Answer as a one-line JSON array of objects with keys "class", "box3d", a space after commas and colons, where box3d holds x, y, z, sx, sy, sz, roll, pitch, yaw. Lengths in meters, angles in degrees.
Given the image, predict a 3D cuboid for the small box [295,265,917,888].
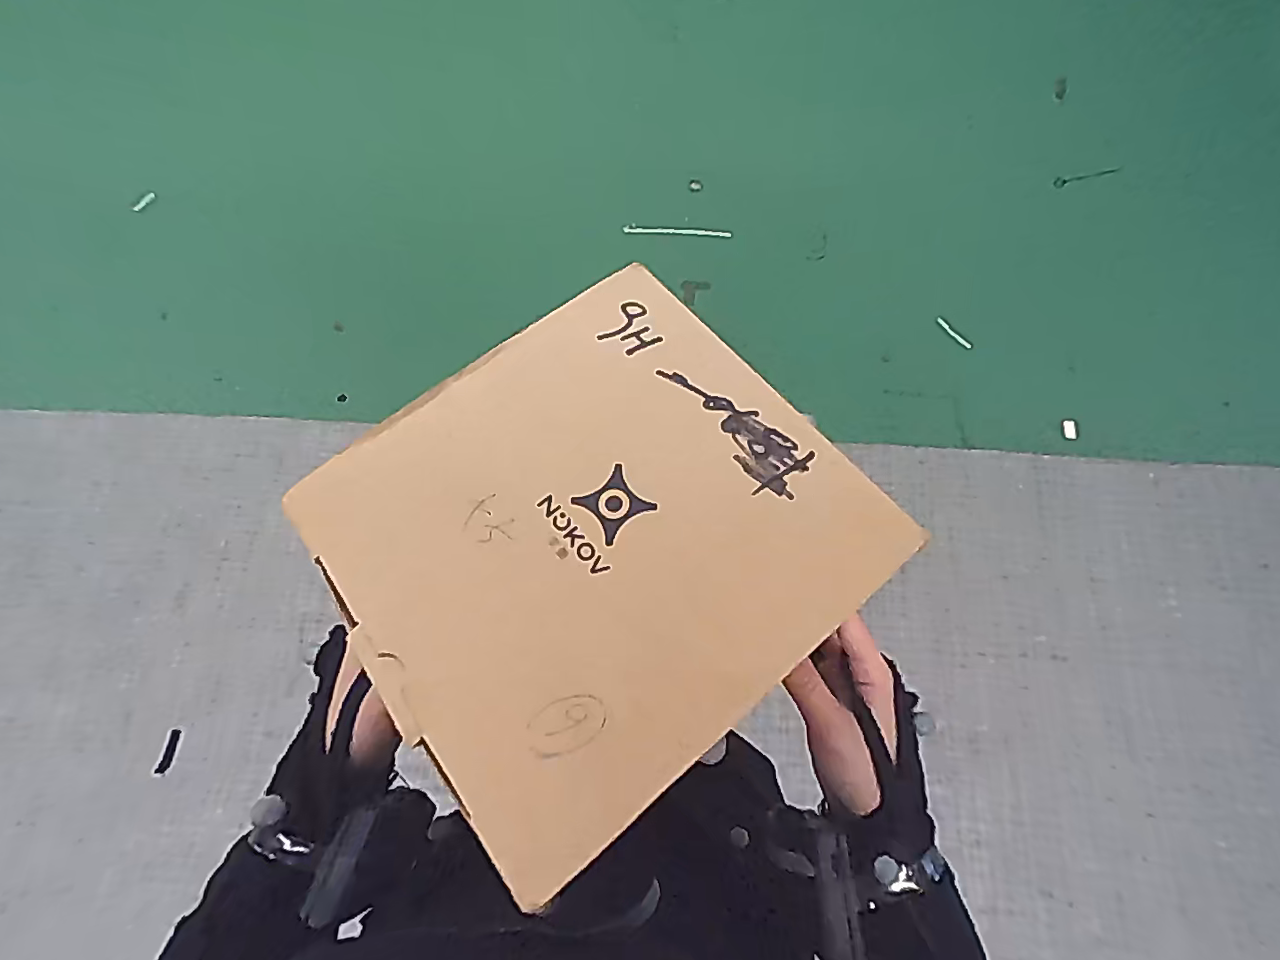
[{"class": "small box", "box3d": [-0.013, 0.042, 0.272, 0.179, 0.176, 0.168, -38, 72, -11]}]
